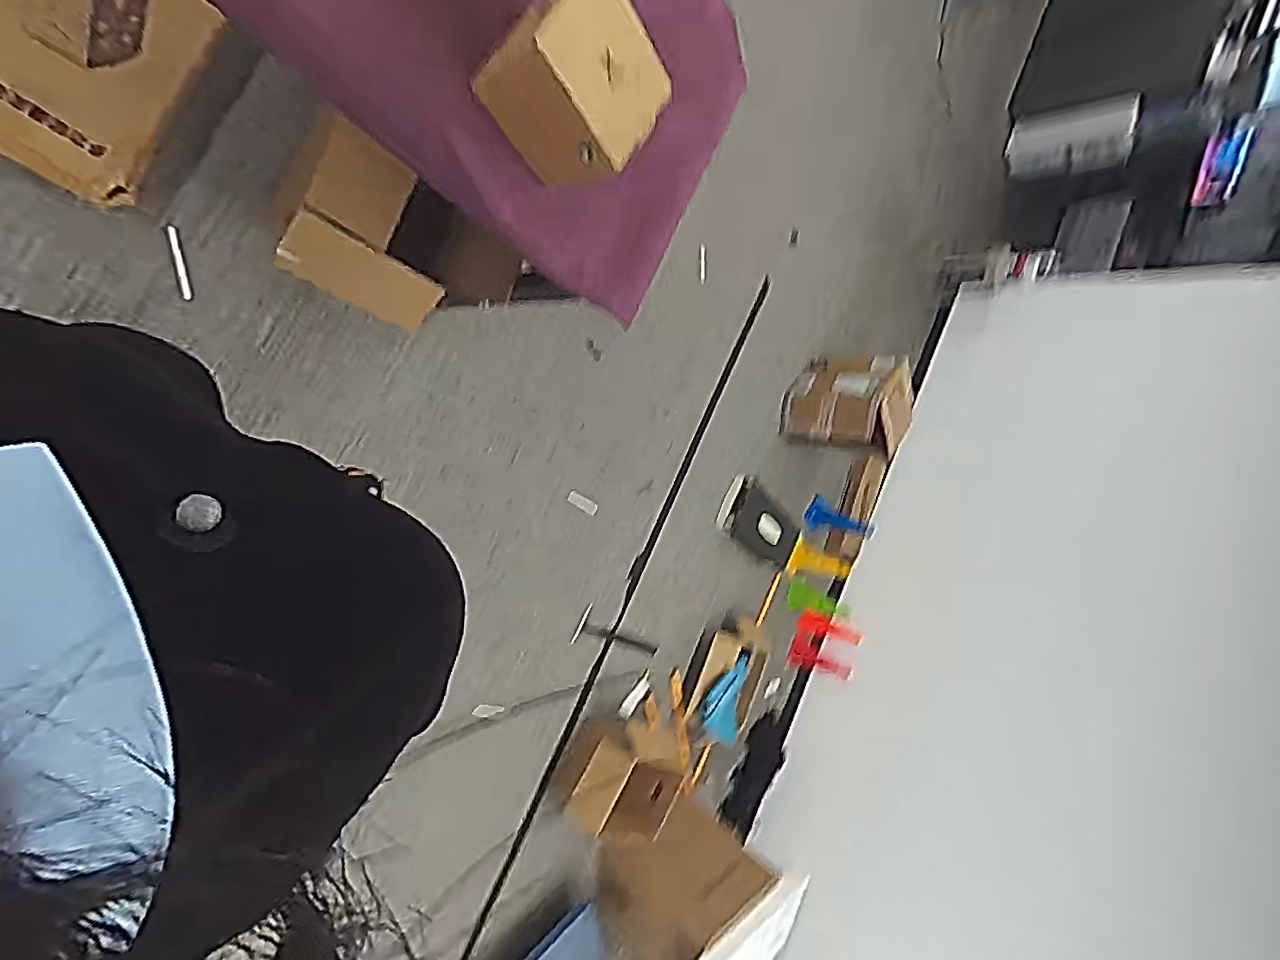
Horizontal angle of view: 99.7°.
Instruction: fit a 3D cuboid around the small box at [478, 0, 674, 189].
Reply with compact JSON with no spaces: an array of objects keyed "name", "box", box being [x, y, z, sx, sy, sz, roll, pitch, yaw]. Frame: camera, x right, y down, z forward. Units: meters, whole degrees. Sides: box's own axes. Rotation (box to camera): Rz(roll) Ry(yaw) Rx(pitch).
[{"name":"small box","box":[-0.091,-0.544,0.757,0.179,0.176,0.168,42,71,-44]}]
